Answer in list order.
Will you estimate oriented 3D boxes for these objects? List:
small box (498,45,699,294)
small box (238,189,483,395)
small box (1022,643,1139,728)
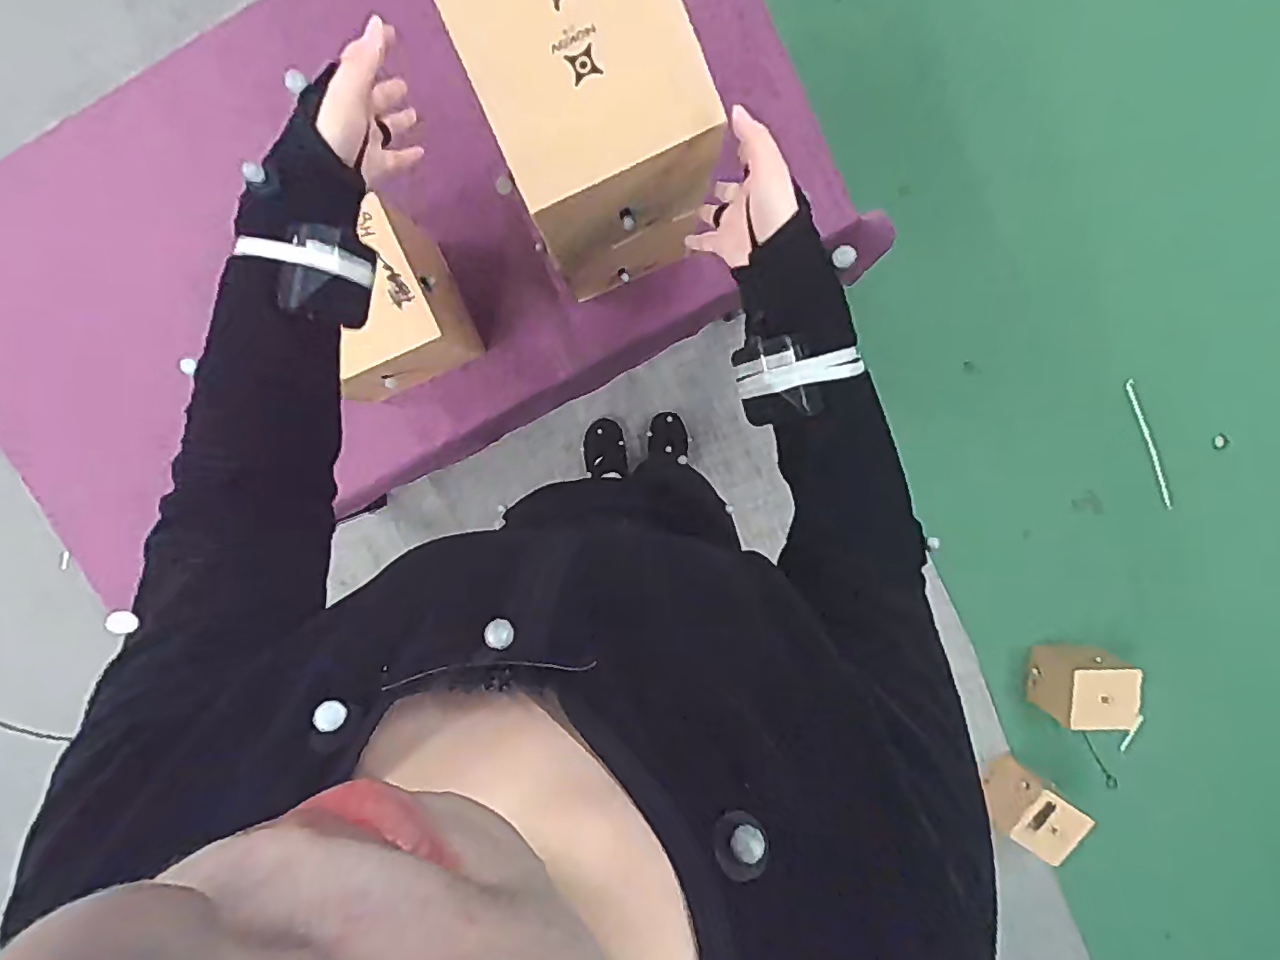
[{"bbox_3d":[-0.043,-0.348,0.645,0.168,0.176,0.179,-22,97,3],"label":"small box"},{"bbox_3d":[-0.322,-0.211,0.663,0.179,0.176,0.168,-23,96,3],"label":"small box"},{"bbox_3d":[1.198,0.556,1.480,0.179,0.176,0.168,0,97,0],"label":"small box"}]
